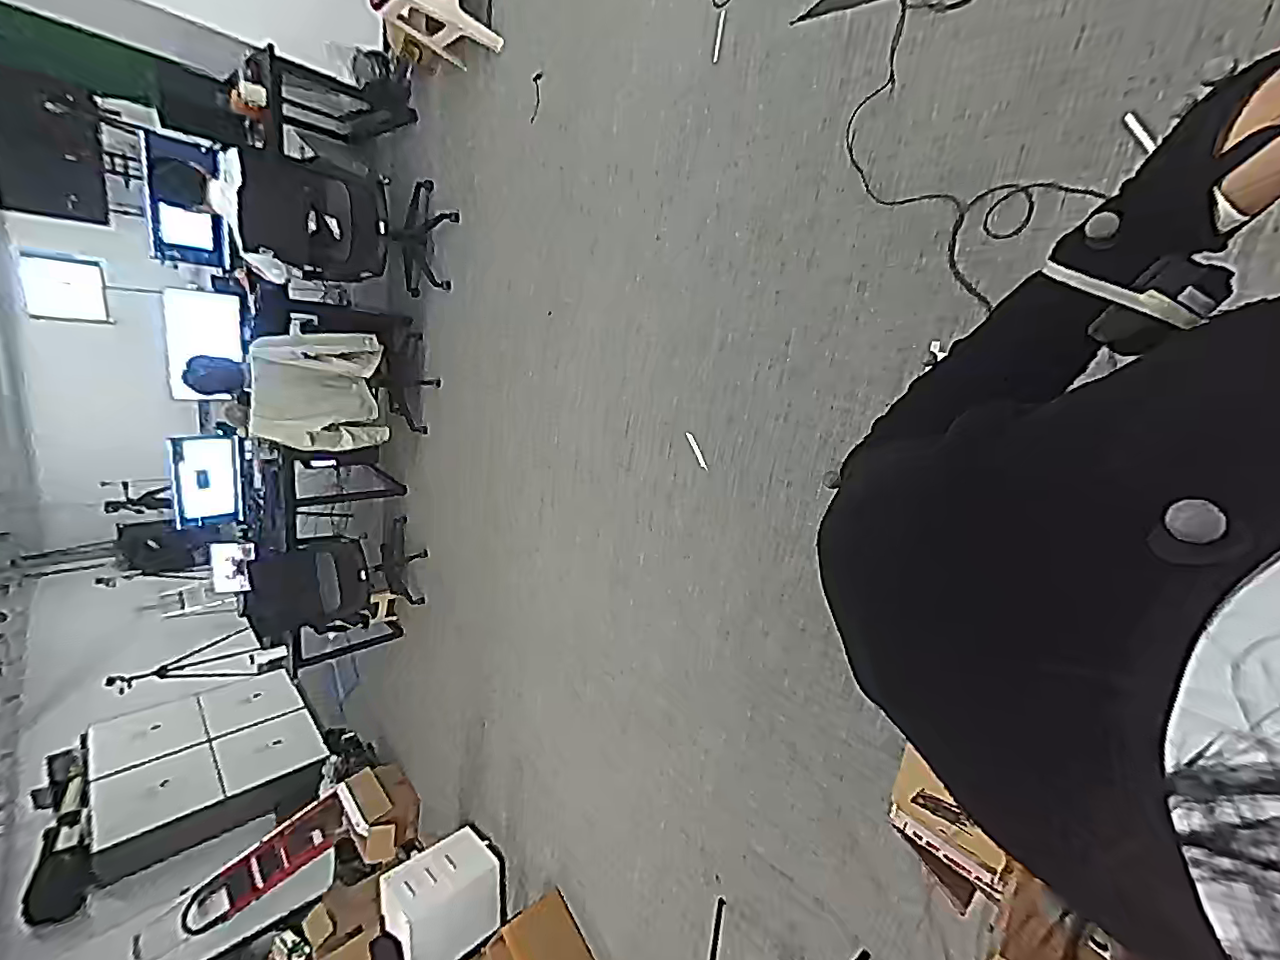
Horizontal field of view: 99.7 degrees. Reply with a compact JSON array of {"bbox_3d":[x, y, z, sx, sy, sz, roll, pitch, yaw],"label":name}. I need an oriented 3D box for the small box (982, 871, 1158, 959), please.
[{"bbox_3d":[0.539,0.666,0.690,0.168,0.176,0.179,21,107,39],"label":"small box"}]

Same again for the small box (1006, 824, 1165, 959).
[{"bbox_3d":[0.651,0.675,0.809,0.168,0.176,0.179,21,109,40],"label":"small box"}]
